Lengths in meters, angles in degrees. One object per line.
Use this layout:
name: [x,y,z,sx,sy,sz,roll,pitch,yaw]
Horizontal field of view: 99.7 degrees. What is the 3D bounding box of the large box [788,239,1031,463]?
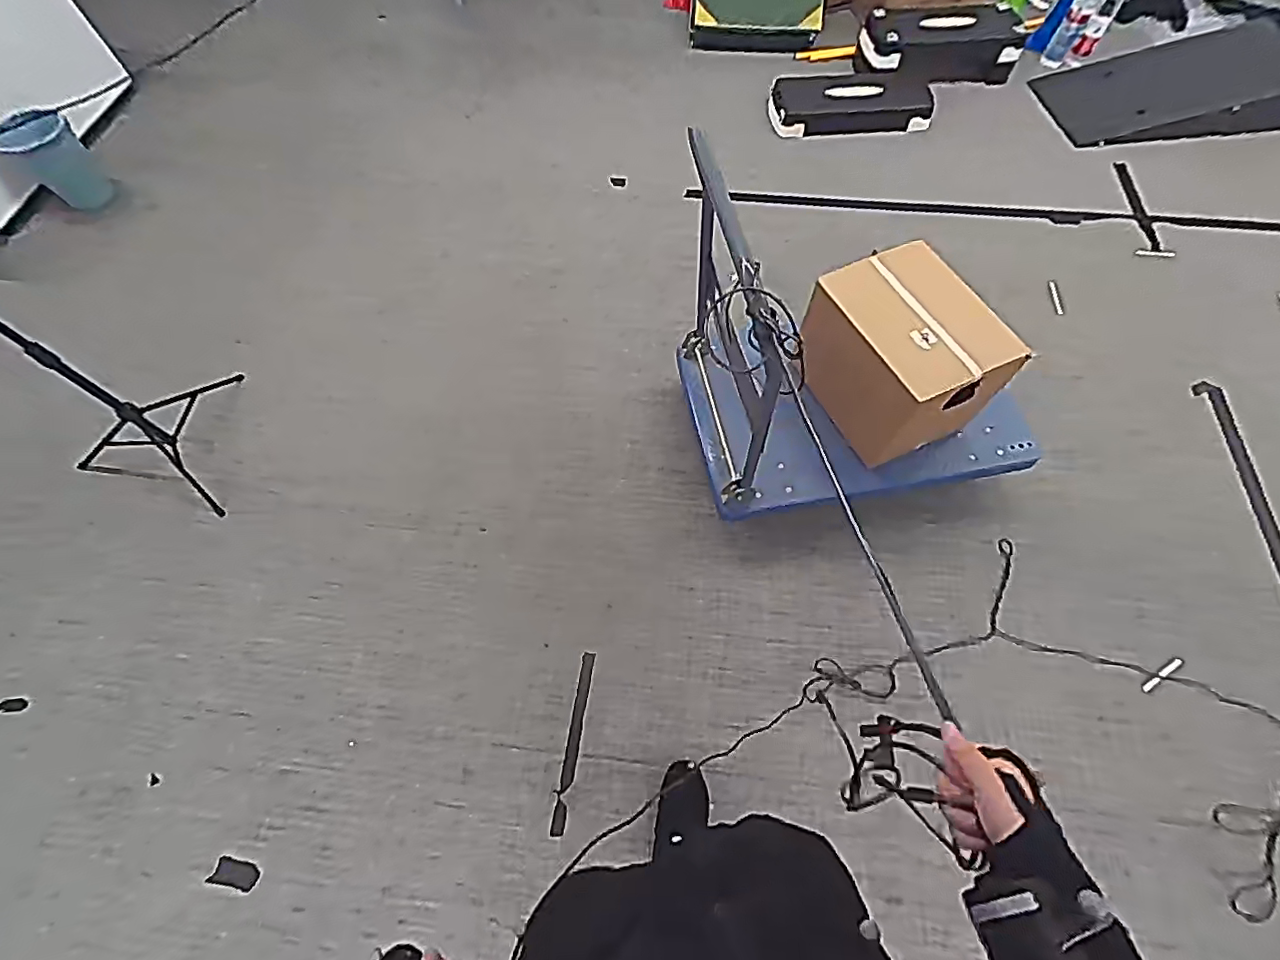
large box: [0.640,-0.320,1.372,0.320,0.320,0.408,-23,67,-9]
